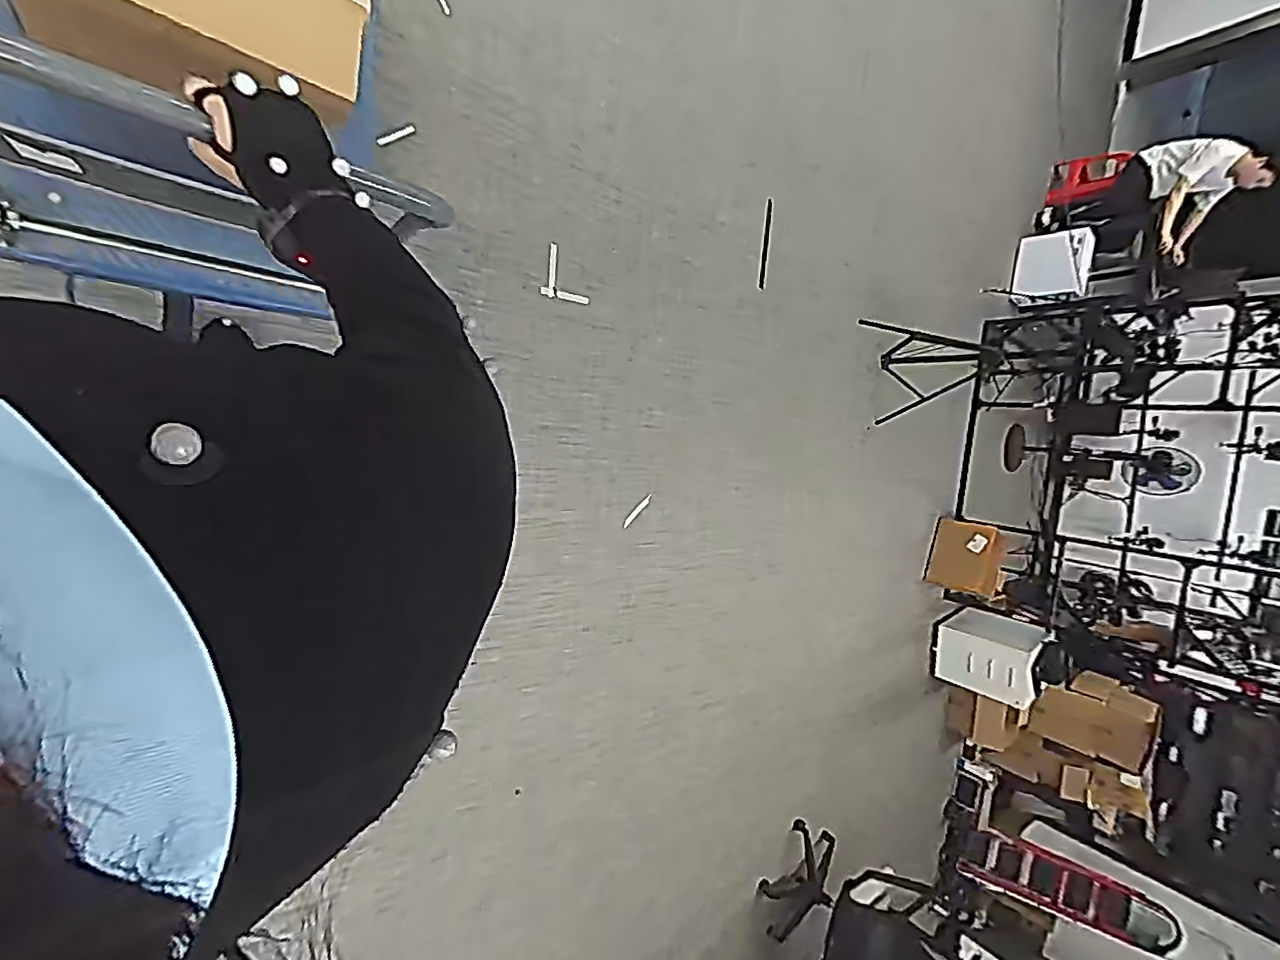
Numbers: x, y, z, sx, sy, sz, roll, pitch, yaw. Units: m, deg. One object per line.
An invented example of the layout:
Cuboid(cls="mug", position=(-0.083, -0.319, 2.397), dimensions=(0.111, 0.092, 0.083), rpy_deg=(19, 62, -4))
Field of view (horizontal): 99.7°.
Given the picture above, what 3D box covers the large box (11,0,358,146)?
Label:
Cuboid(cls="large box", position=(-0.686, -0.802, 0.840), dimensions=(0.408, 0.320, 0.320), rpy_deg=(4, 94, -39))
